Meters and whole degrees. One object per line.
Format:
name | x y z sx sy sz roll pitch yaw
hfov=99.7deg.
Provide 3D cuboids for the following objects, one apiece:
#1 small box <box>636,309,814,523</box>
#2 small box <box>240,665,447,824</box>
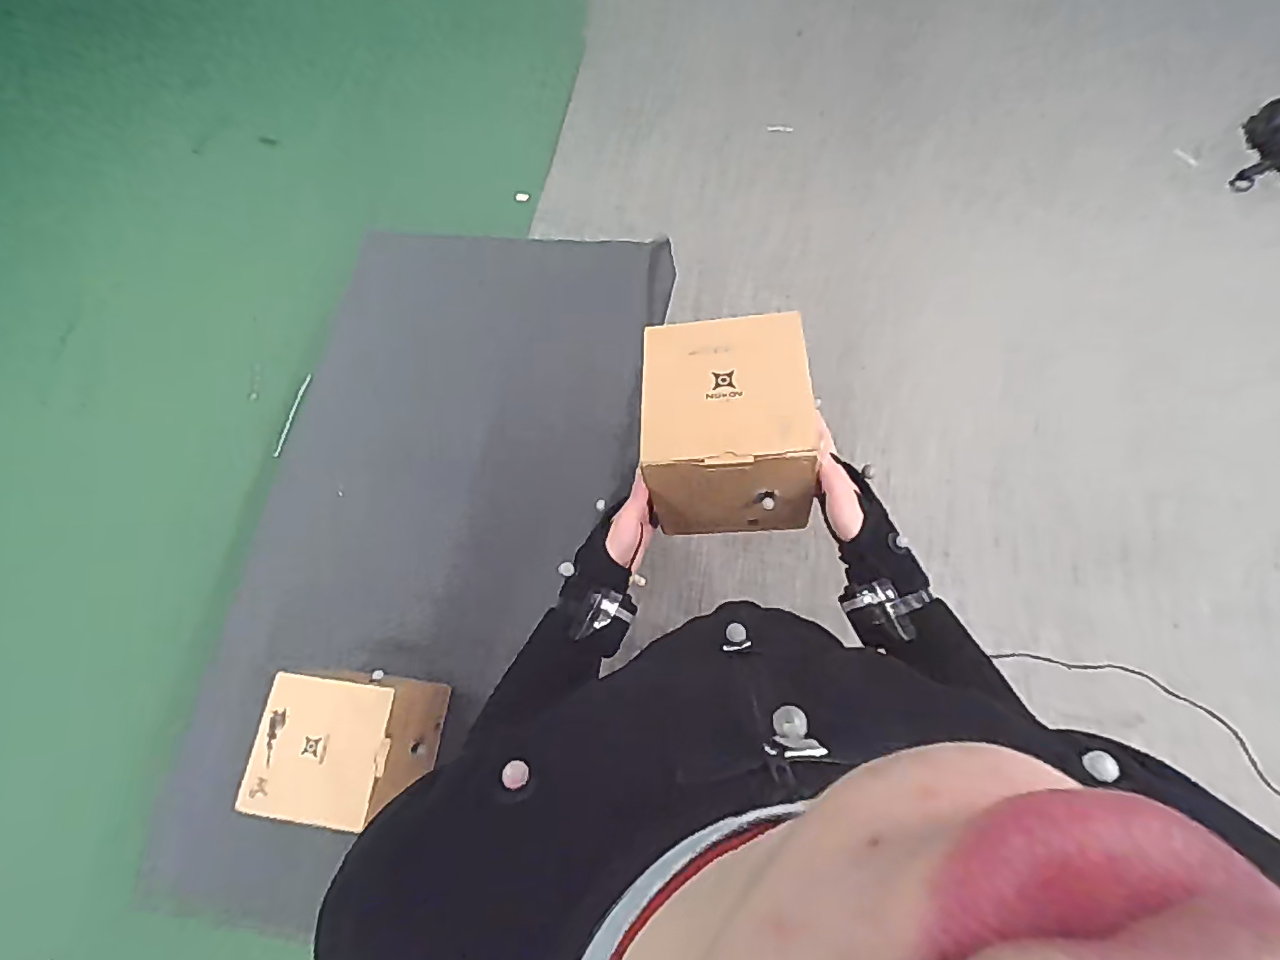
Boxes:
small box | 0.091 -0.059 0.599 0.168 0.176 0.179 -3 60 8
small box | -0.398 0.358 0.763 0.179 0.176 0.168 5 72 6
